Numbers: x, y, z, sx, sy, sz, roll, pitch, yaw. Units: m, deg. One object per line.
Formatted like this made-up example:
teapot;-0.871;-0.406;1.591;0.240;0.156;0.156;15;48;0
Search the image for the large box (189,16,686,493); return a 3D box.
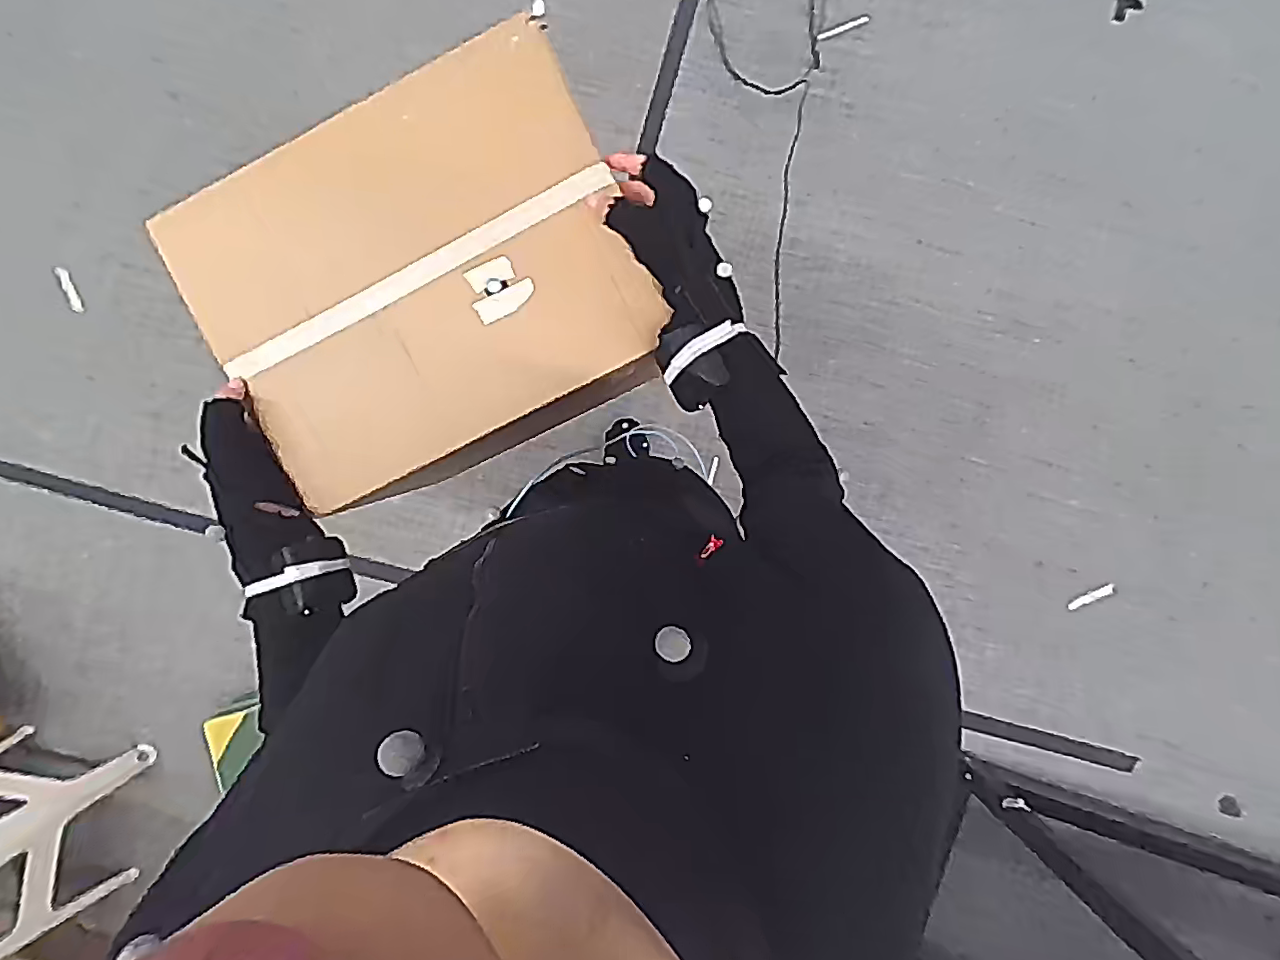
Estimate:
large box;-0.192;-0.218;0.665;0.408;0.320;0.320;-24;96;4
